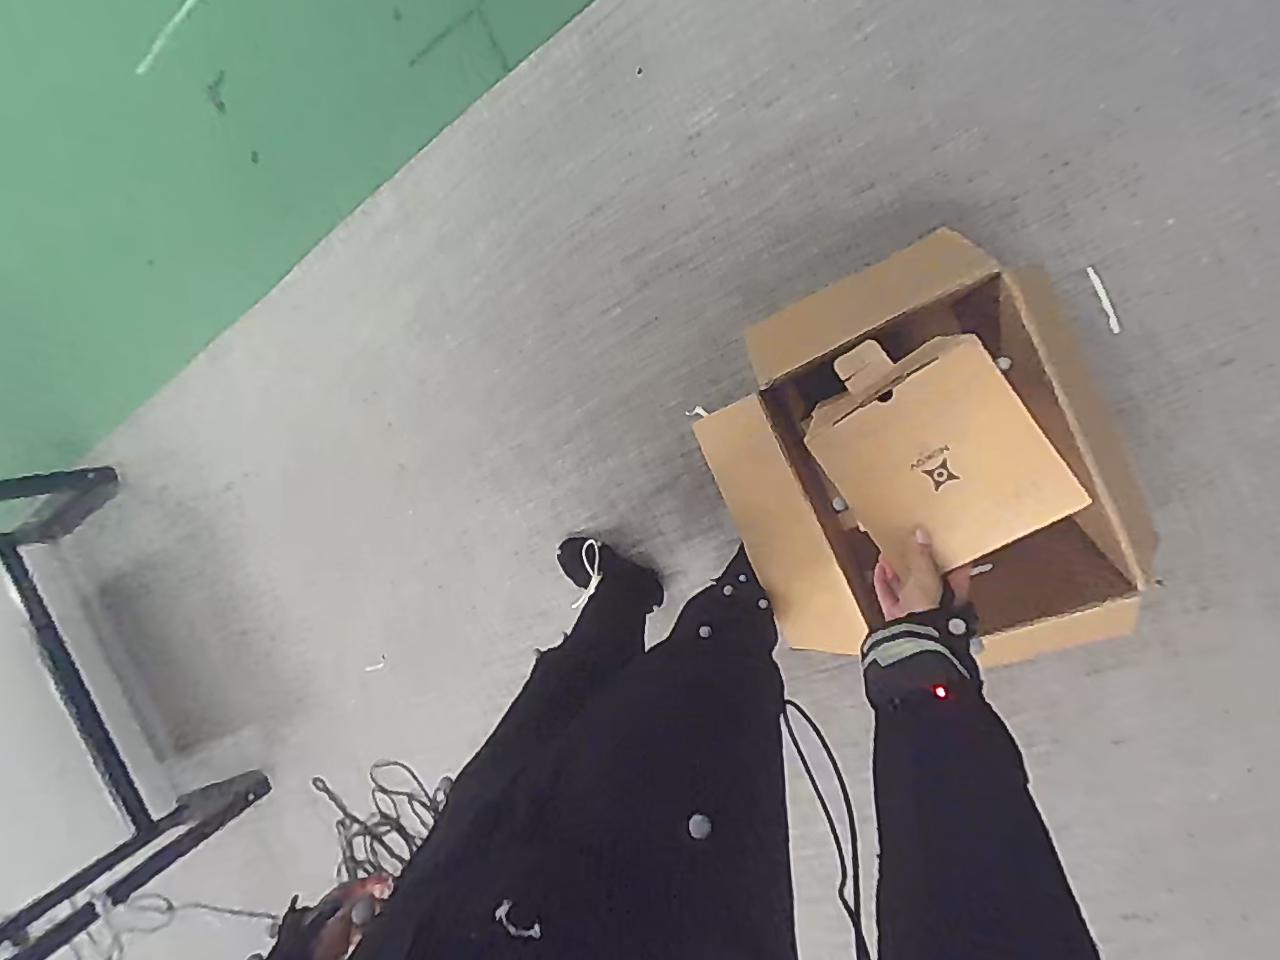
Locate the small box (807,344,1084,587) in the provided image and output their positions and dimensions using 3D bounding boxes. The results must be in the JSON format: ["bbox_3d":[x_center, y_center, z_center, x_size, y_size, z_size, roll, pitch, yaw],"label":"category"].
[{"bbox_3d":[0.298,-0.024,0.563,0.168,0.176,0.179,-35,88,24],"label":"small box"}]
